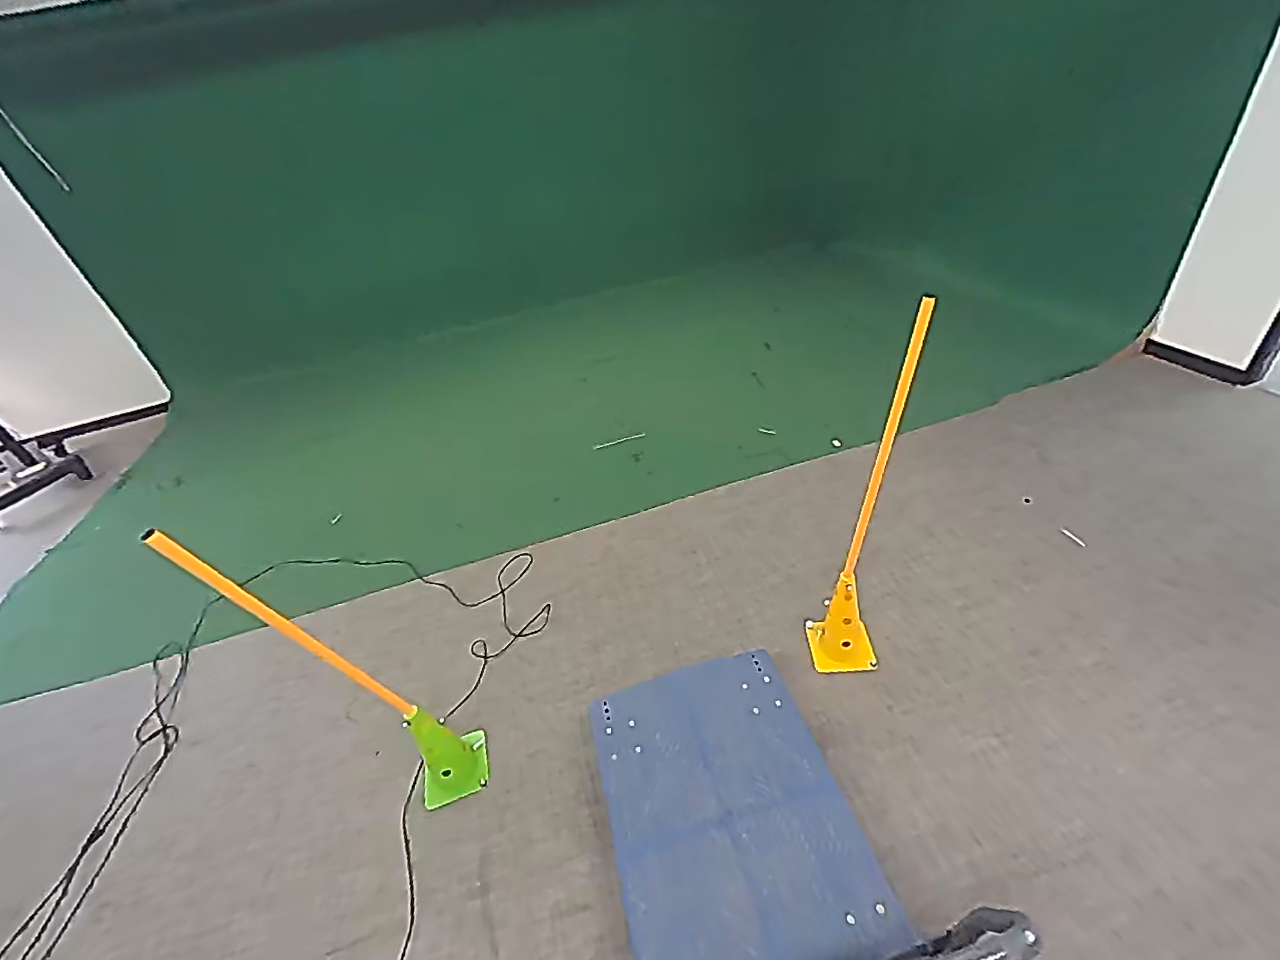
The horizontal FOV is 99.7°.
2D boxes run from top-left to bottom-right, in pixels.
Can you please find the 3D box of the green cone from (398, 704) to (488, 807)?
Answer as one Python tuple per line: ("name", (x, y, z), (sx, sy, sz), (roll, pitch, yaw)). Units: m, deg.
("green cone", (-0.624, 0.782, 1.629), (0.202, 0.368, 0.200), (-20, 38, -8))
